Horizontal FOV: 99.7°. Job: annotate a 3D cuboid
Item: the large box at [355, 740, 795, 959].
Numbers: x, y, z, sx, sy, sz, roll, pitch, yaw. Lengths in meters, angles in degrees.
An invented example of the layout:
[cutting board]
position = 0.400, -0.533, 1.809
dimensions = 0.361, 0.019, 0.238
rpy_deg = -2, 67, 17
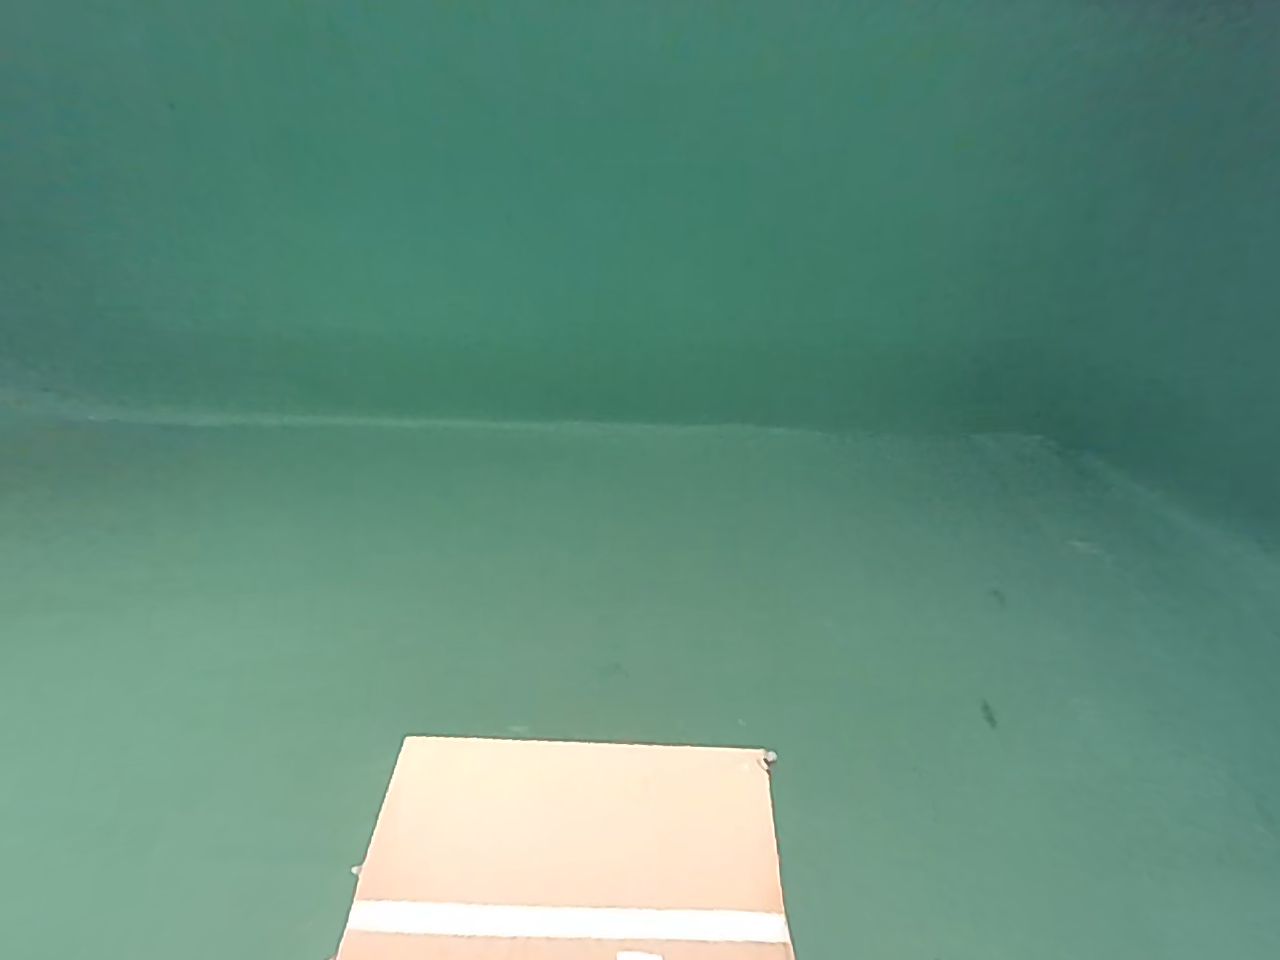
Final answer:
[large box]
position = -0.064, 0.514, 0.616
dimensions = 0.408, 0.320, 0.320
rpy_deg = 2, 47, -1
